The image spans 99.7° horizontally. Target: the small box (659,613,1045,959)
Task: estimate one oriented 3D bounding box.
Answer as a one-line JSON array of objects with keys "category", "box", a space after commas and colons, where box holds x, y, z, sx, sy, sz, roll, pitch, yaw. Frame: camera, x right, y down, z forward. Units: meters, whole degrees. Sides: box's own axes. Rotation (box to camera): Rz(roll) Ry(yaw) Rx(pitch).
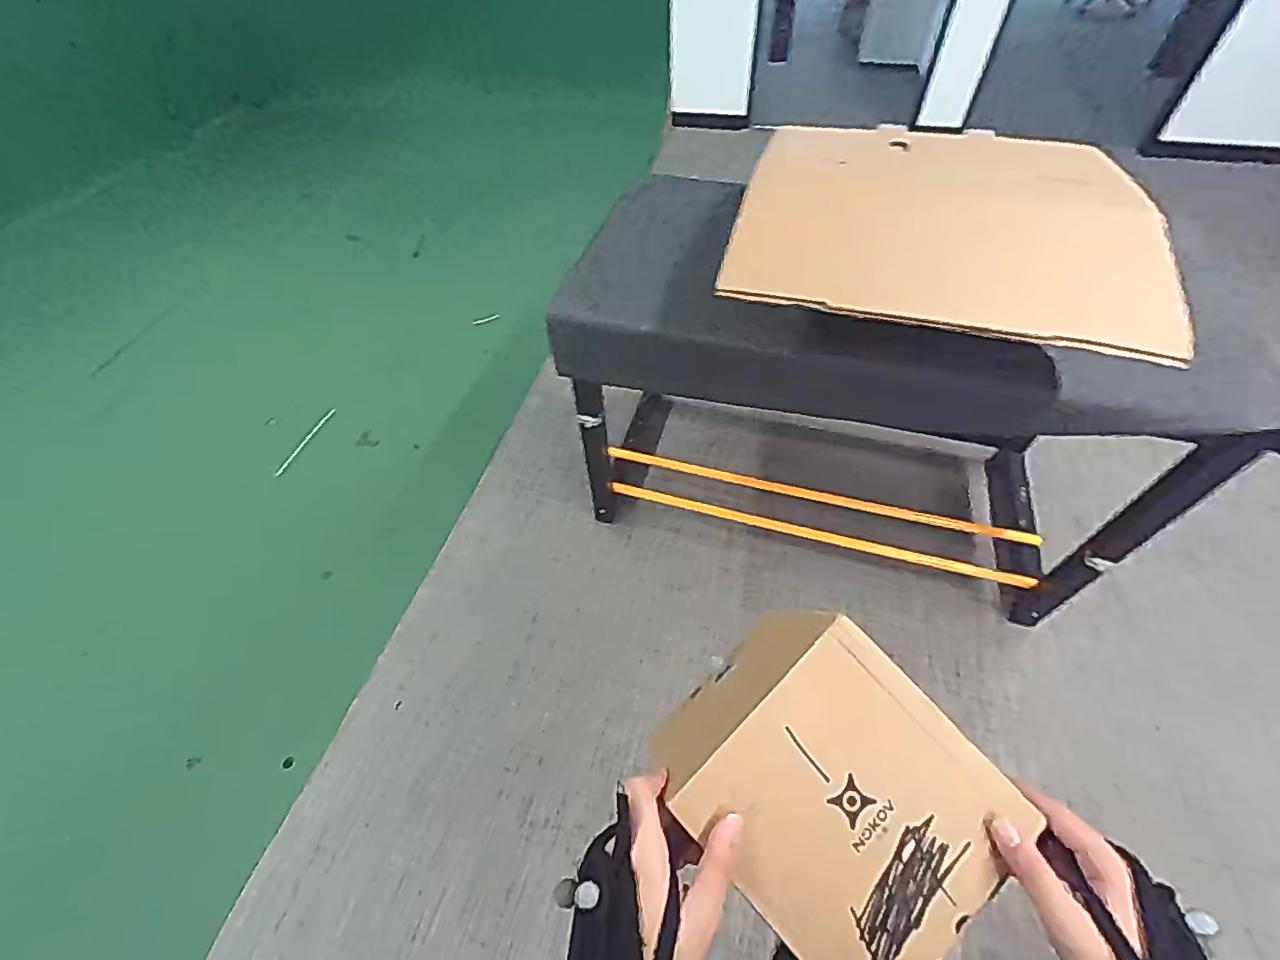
[{"category": "small box", "box": [0.133, 0.215, 0.409, 0.168, 0.176, 0.179, -42, 83, -11]}]
